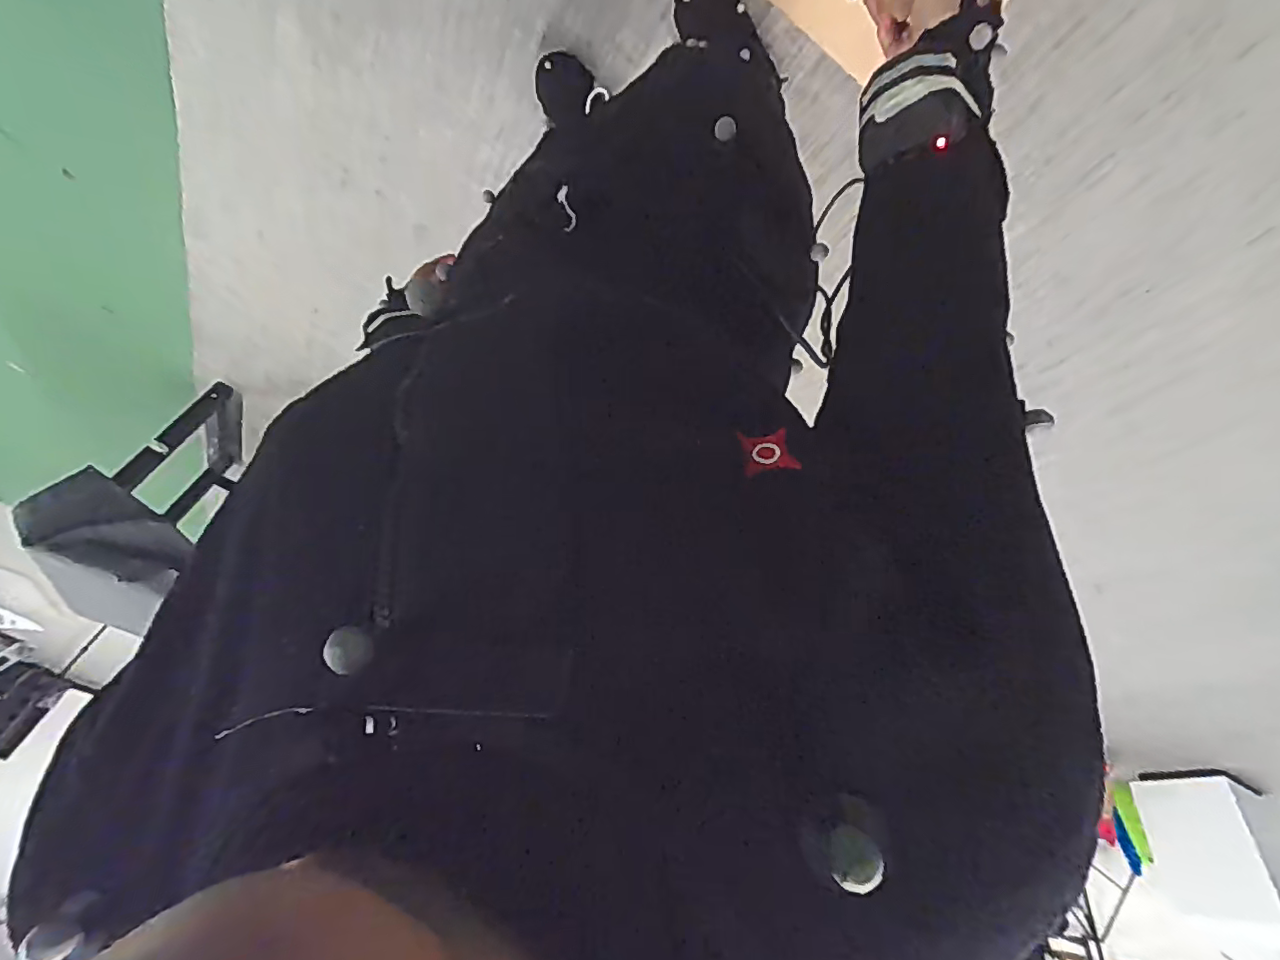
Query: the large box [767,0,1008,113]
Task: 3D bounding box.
[{"bbox_3d":[0.290,-0.762,0.658,0.408,0.320,0.320,28,139,-16],"label":"large box"}]
